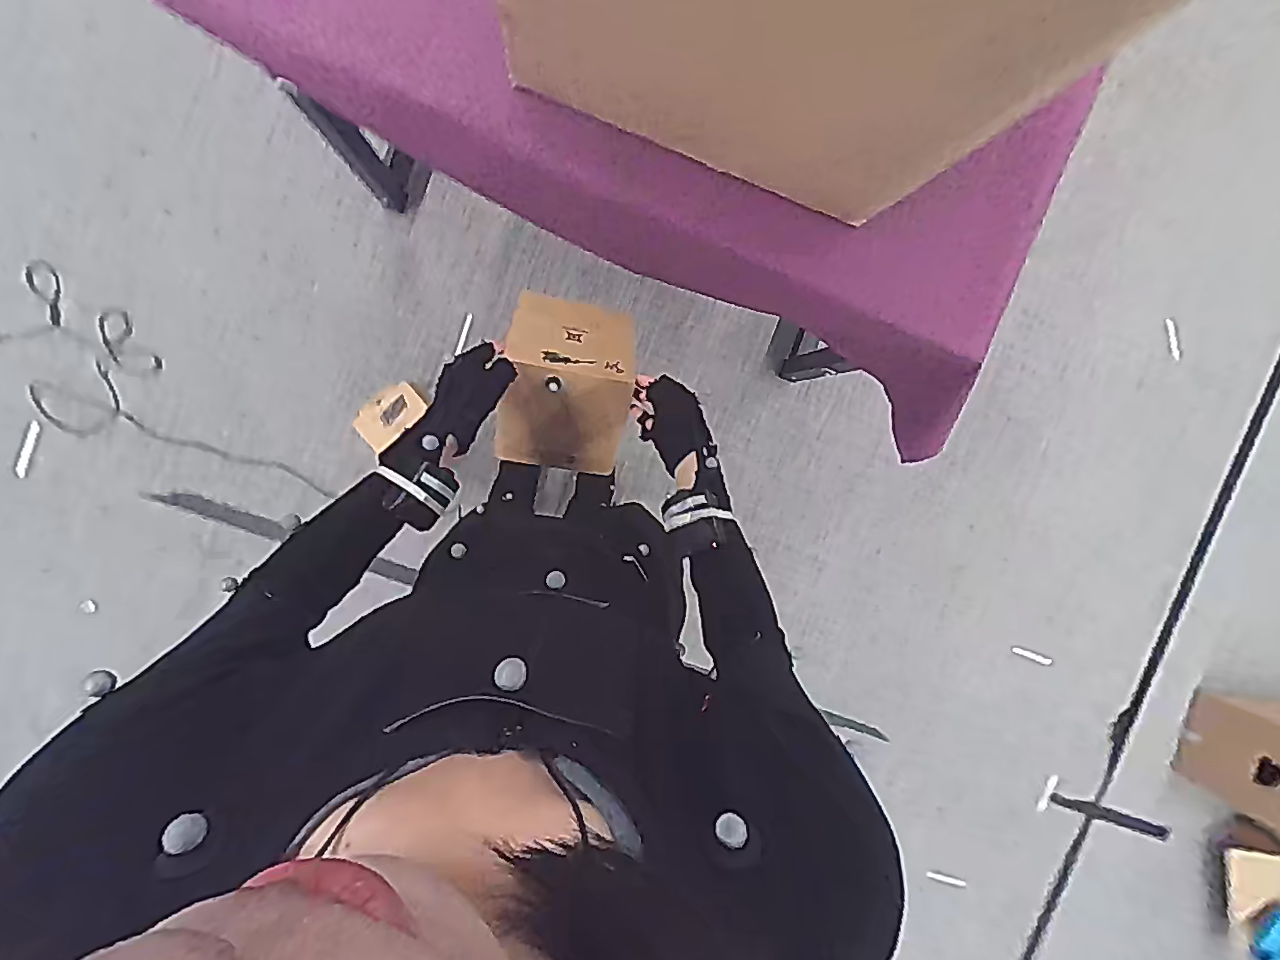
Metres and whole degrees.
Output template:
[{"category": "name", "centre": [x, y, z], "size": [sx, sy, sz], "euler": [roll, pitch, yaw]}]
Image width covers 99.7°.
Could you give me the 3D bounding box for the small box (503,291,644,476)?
[{"category": "small box", "centre": [-0.094, -0.133, 0.753], "size": [0.168, 0.179, 0.176], "euler": [9, 133, -9]}]

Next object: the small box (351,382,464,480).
[{"category": "small box", "centre": [-0.571, -0.121, 1.351], "size": [0.168, 0.176, 0.179], "euler": [-39, 100, -2]}]
